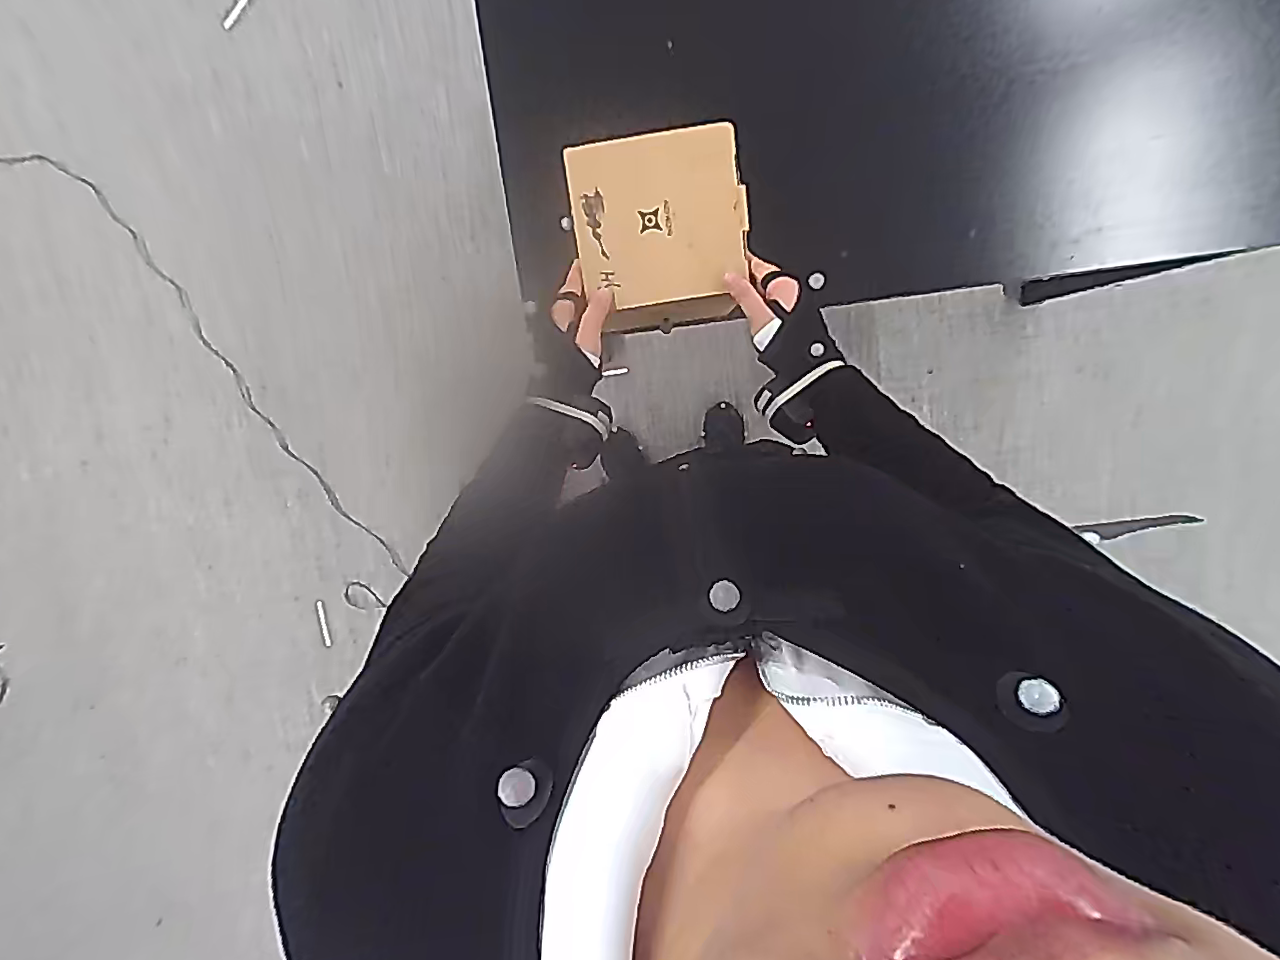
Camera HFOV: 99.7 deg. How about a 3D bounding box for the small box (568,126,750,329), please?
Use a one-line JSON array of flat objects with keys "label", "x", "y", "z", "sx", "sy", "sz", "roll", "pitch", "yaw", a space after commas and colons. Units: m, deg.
[{"label": "small box", "x": 0.019, "y": -0.279, "z": 0.636, "sx": 0.179, "sy": 0.176, "sz": 0.168, "roll": -8, "pitch": 98, "yaw": 0}]
